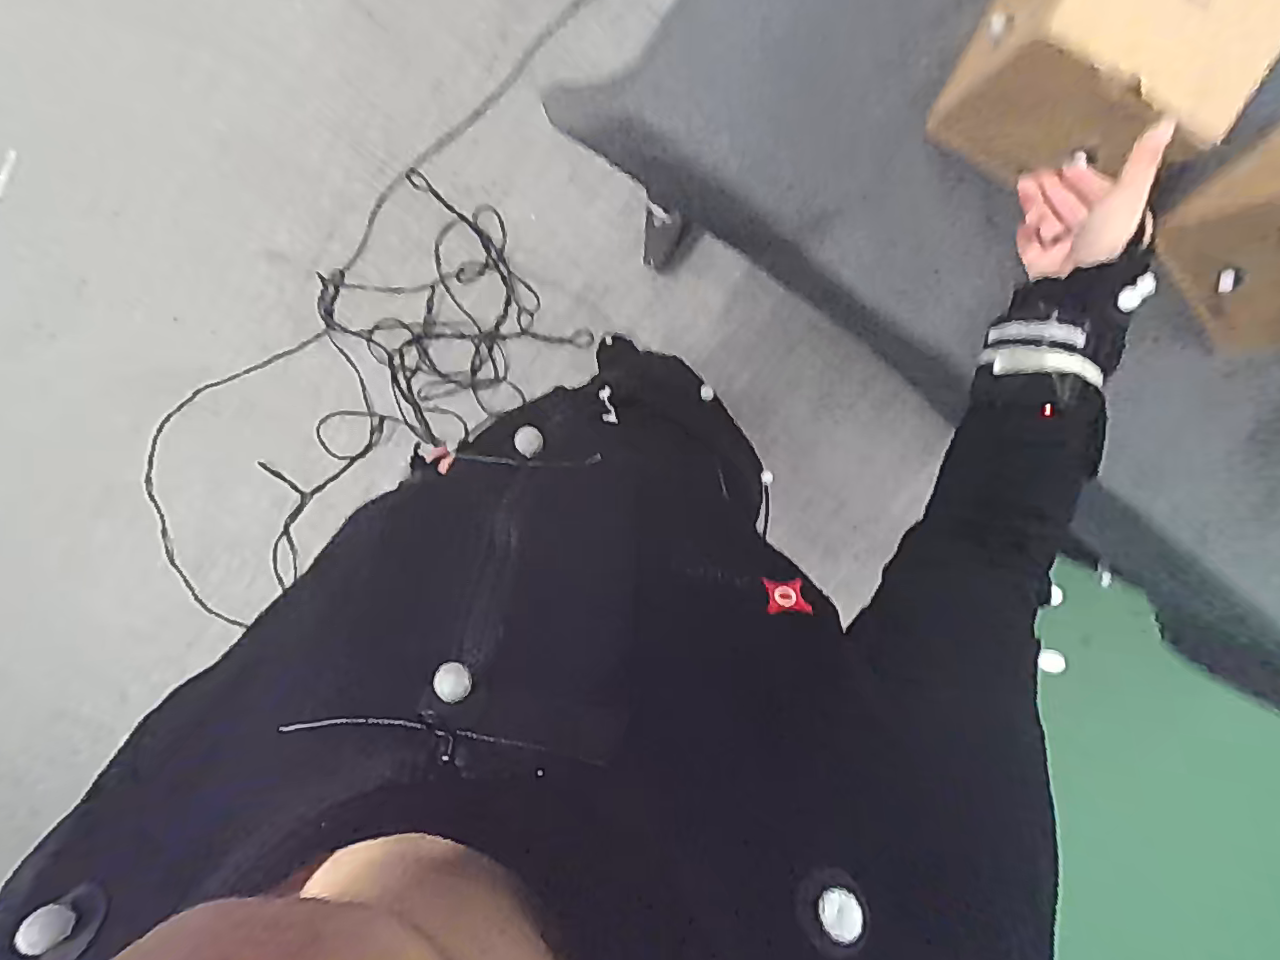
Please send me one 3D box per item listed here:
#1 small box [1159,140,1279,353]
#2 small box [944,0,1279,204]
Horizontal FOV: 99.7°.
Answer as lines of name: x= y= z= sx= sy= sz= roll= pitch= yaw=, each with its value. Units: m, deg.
small box: x=0.662 y=-0.236 z=0.499 sx=0.179 sy=0.176 sz=0.168 roll=-40 pitch=99 yaw=7
small box: x=0.406 y=-0.377 z=0.469 sx=0.168 sy=0.176 sz=0.179 roll=27 pitch=98 yaw=-7
